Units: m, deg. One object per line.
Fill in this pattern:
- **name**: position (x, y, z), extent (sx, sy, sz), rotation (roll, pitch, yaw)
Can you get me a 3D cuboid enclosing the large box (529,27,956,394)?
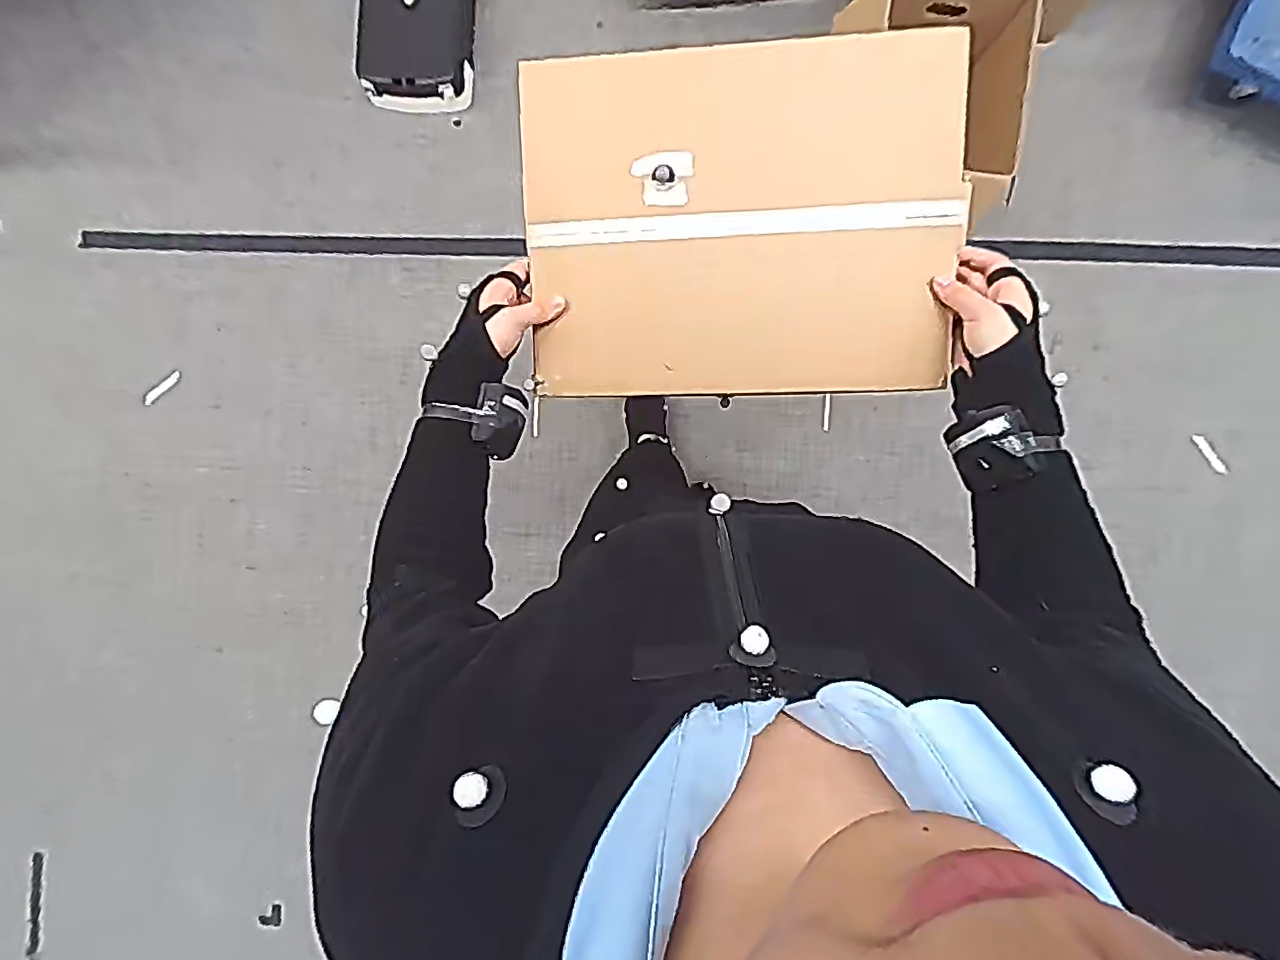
- **large box**: position (0.111, -0.270, 0.671), extent (0.408, 0.320, 0.320), rotation (0, 97, 7)
